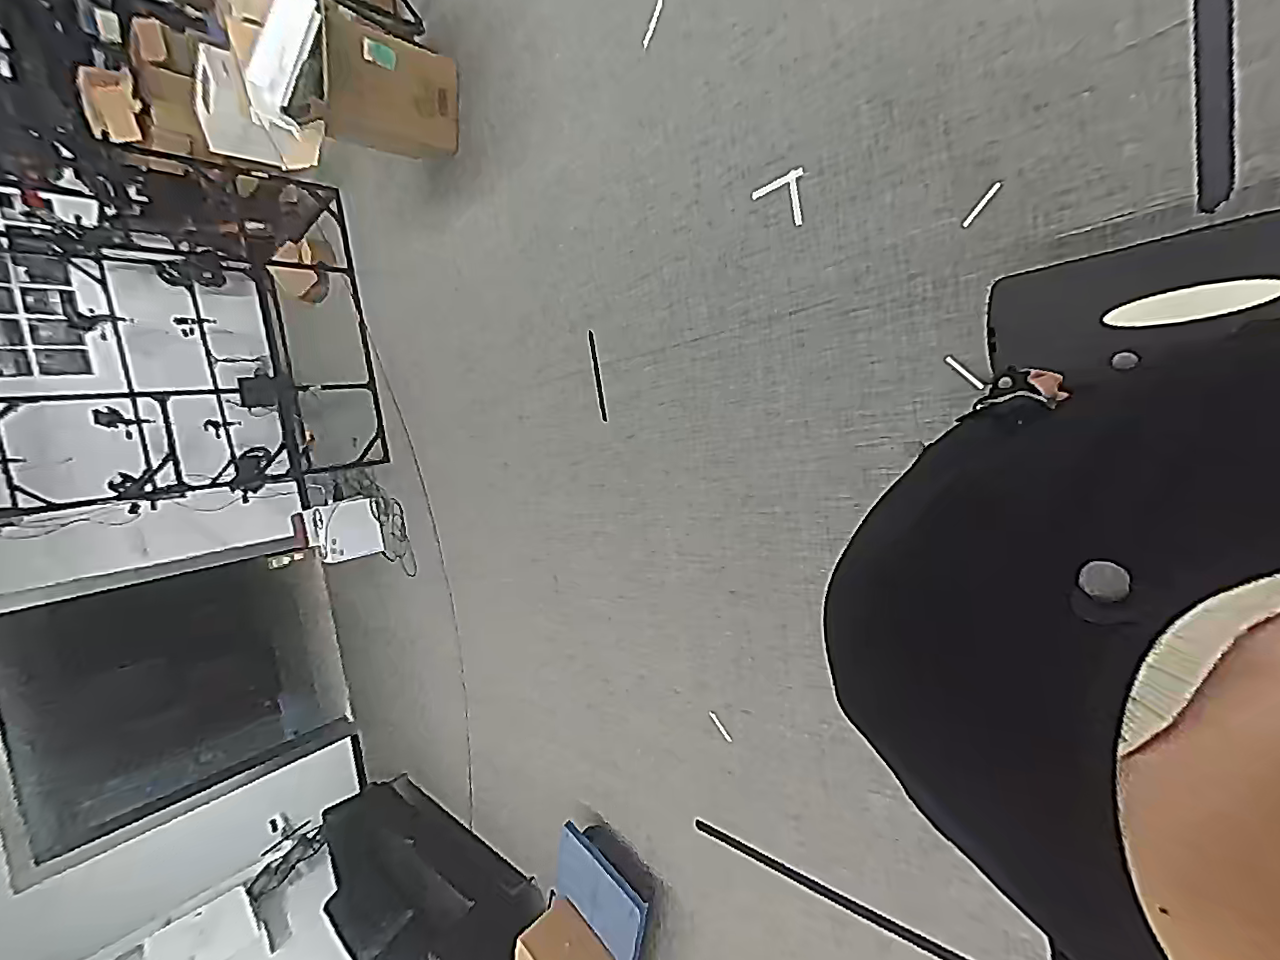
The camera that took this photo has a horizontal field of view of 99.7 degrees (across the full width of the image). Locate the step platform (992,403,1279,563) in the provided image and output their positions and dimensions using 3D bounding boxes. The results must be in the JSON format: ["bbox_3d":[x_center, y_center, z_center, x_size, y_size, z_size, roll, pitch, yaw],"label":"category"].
[{"bbox_3d":[1.089,-0.005,1.048,0.684,0.204,0.286,4,101,46],"label":"step platform"}]
